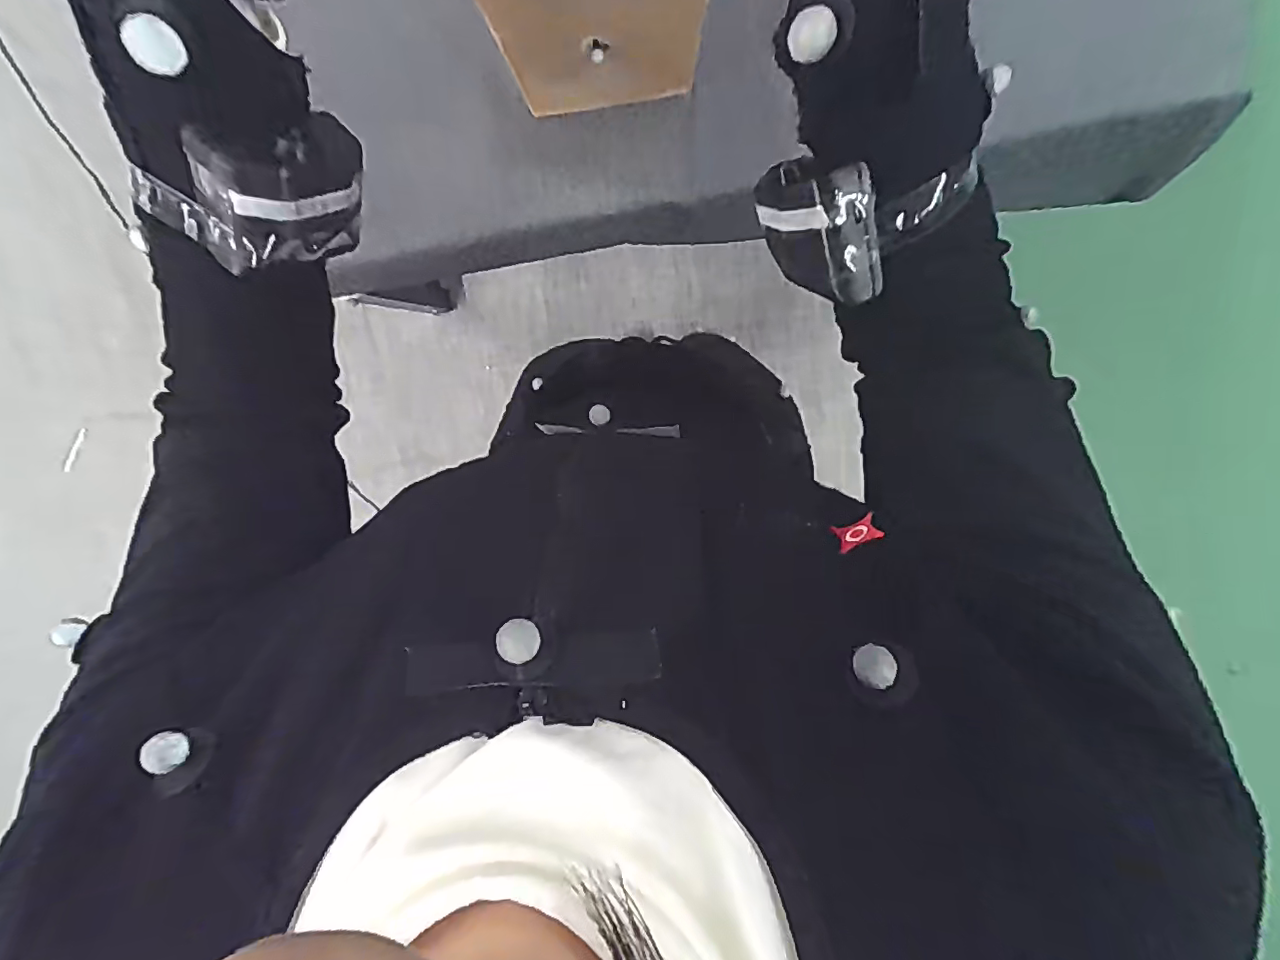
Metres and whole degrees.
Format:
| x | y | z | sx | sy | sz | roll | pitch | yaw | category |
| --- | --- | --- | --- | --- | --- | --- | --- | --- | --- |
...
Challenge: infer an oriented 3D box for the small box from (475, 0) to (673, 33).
| x | y | z | sx | sy | sz | roll | pitch | yaw | category |
| --- | --- | --- | --- | --- | --- | --- | --- | --- | --- |
| -0.048 | -0.426 | 0.335 | 0.179 | 0.176 | 0.168 | -6 | 104 | 5 | small box |

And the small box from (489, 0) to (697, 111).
| x | y | z | sx | sy | sz | roll | pitch | yaw | category |
| --- | --- | --- | --- | --- | --- | --- | --- | --- | --- |
| -0.043 | -0.469 | 0.494 | 0.179 | 0.176 | 0.168 | -8 | 104 | 3 | small box |
